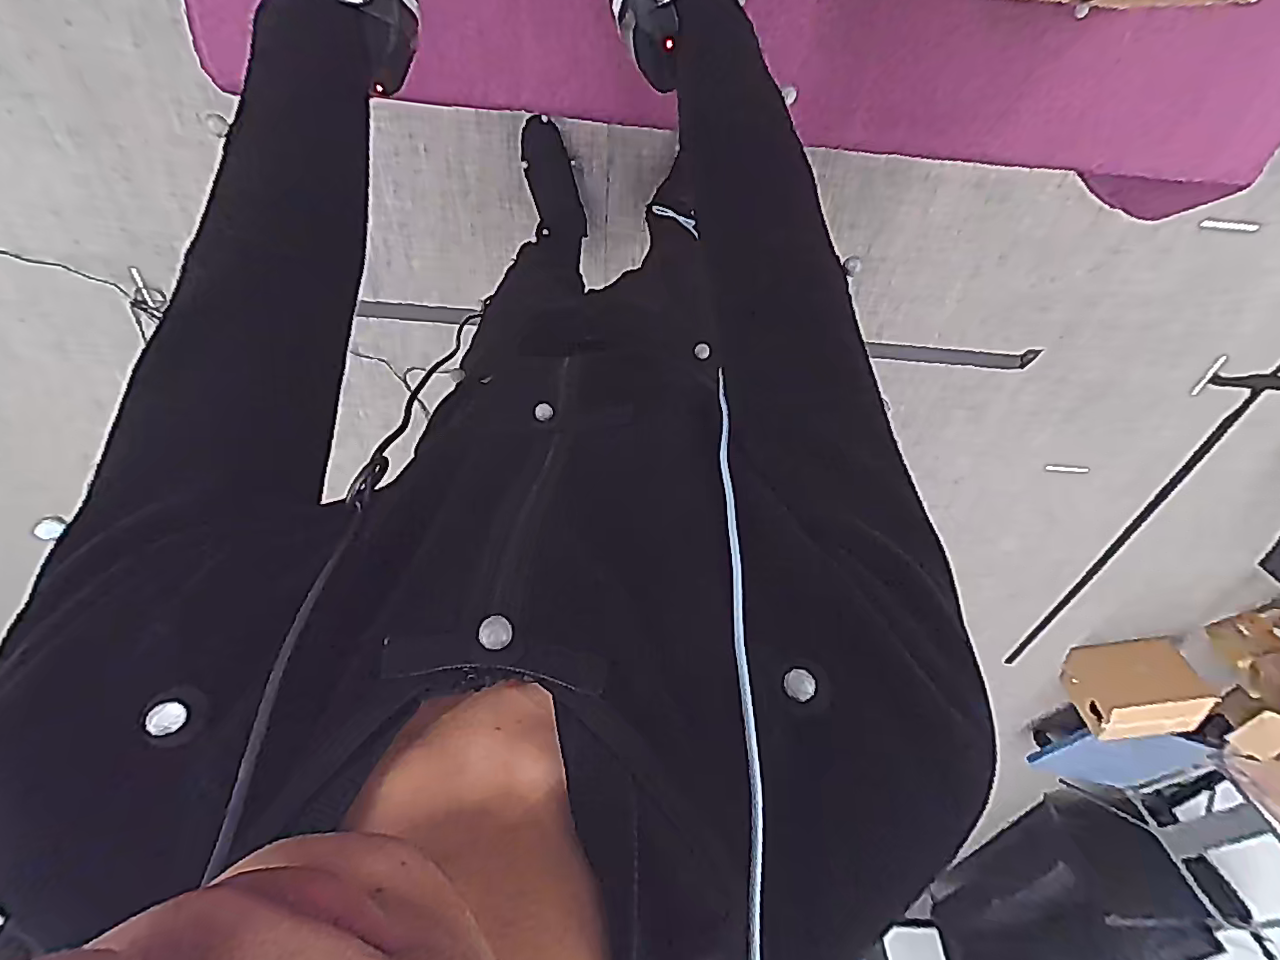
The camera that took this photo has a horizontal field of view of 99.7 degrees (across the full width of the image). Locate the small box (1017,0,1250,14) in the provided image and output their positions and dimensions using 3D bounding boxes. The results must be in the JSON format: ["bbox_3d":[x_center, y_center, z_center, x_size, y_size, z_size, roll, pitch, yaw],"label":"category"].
[{"bbox_3d":[0.426,-0.510,0.449,0.168,0.176,0.179,3,130,-3],"label":"small box"}]
